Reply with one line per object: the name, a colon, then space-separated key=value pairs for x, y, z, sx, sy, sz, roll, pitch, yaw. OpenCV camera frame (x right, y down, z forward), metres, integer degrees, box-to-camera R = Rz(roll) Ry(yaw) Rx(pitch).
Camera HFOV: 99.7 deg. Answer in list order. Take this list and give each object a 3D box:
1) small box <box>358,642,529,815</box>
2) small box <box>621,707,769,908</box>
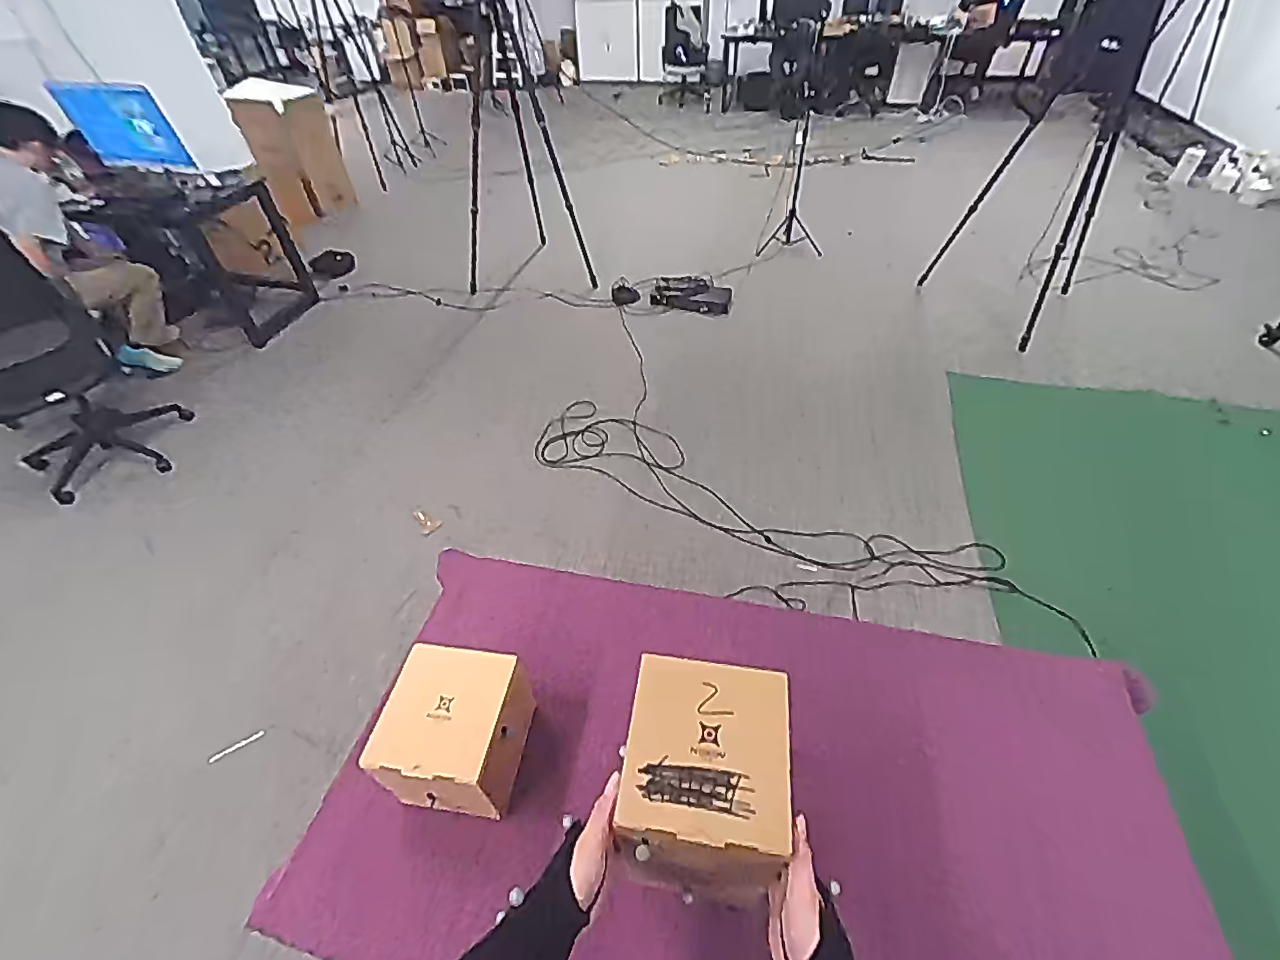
small box: x=-0.273 y=0.369 z=0.804 sx=0.168 sy=0.176 sz=0.179 roll=5 pitch=46 yaw=7
small box: x=0.075 y=0.435 z=0.721 sx=0.168 sy=0.176 sz=0.179 roll=6 pitch=46 yaw=10
